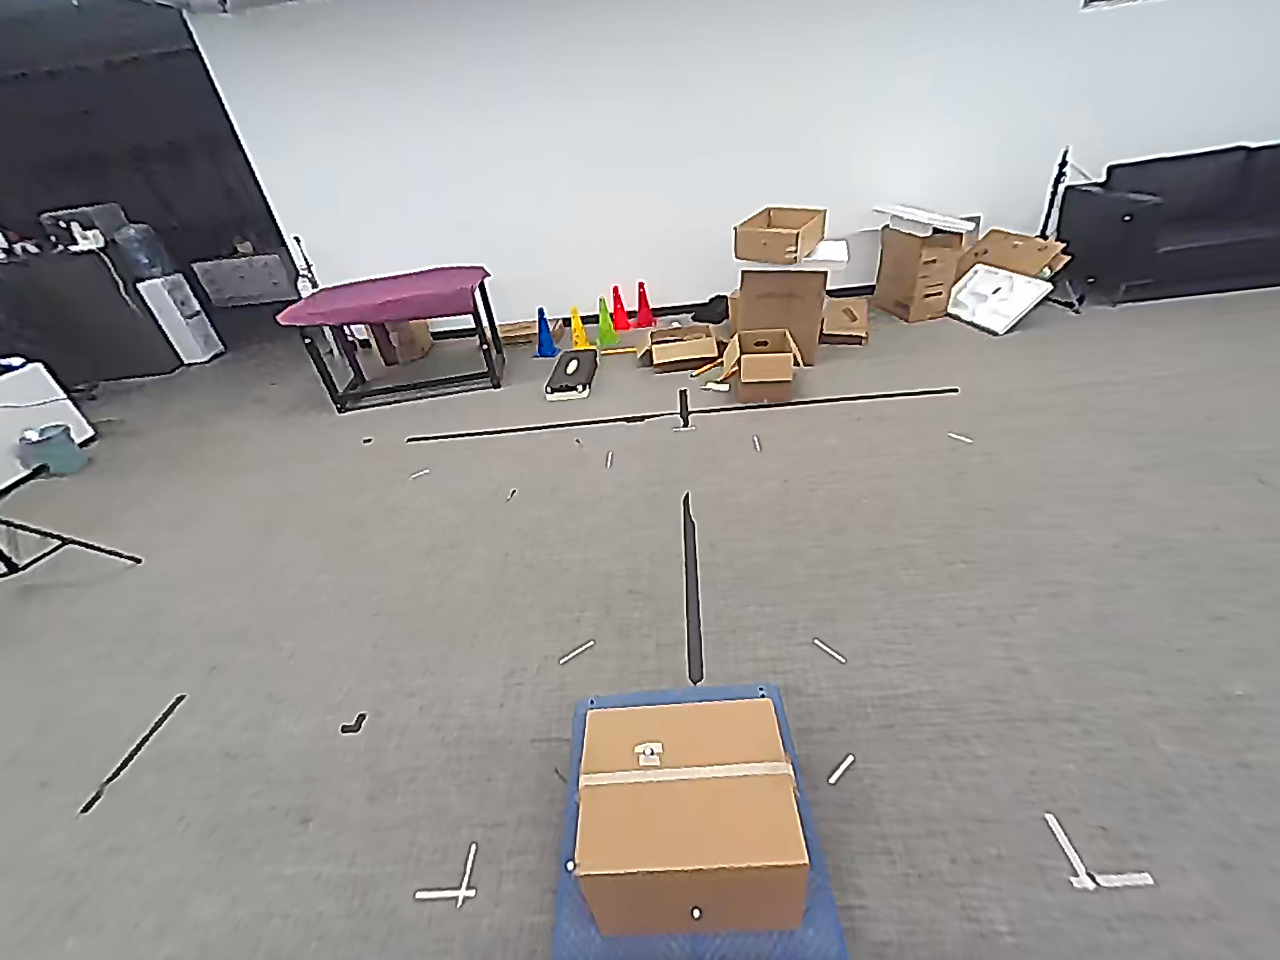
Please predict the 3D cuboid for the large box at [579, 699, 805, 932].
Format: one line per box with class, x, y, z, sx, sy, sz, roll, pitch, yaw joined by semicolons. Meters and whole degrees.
large box;0.106;0.708;1.144;0.408;0.320;0.320;-7;33;4
